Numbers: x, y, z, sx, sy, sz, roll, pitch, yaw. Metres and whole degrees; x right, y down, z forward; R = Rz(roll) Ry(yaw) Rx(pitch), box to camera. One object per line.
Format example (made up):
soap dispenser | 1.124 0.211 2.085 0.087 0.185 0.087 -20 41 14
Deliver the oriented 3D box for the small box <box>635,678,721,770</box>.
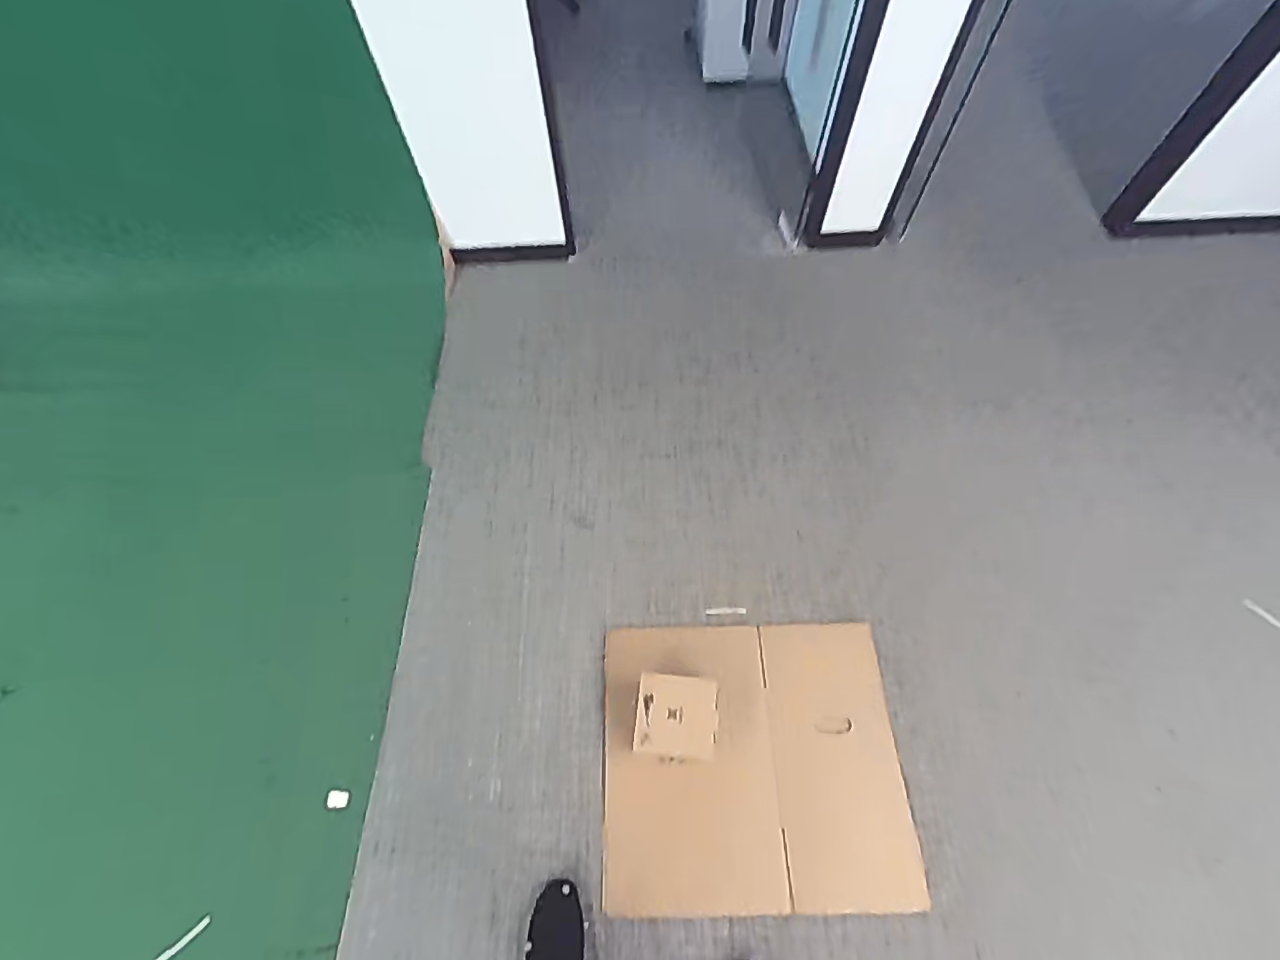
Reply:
small box | 0.086 0.564 1.245 0.179 0.176 0.168 6 61 4
